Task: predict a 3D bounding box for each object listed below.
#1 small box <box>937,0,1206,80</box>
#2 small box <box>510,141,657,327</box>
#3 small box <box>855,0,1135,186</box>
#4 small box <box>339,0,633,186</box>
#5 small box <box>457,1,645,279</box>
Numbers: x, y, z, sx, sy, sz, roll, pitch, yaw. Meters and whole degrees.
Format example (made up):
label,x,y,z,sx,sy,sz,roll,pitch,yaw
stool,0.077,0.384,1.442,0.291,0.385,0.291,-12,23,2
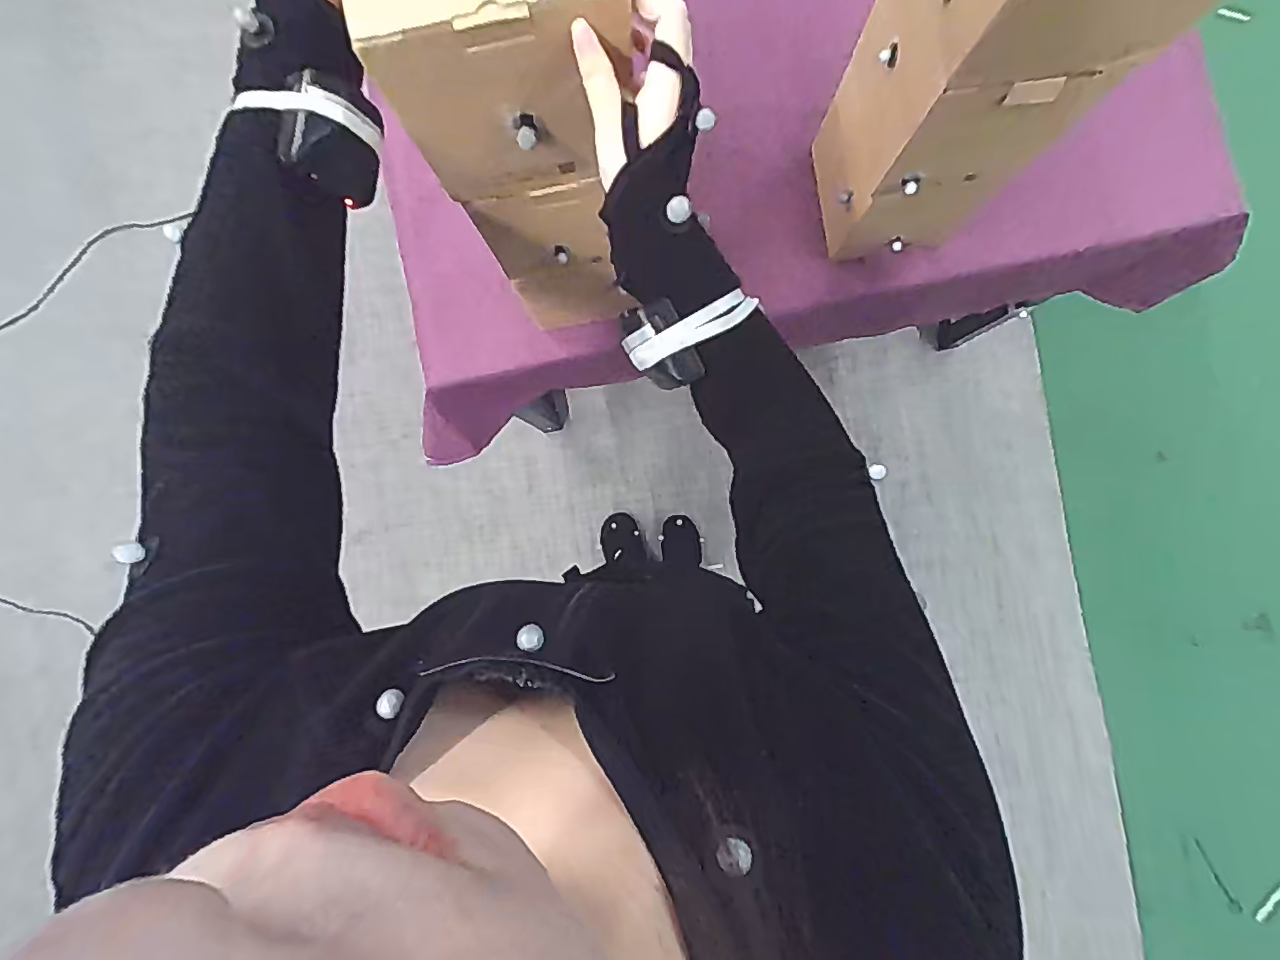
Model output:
label,x,y,z,sx,sy,sz,roll,pitch,yaw
small box,0.326,-0.419,0.376,0.179,0.176,0.168,-5,89,2
small box,-0.074,-0.319,0.720,0.179,0.176,0.168,-9,87,2
small box,0.331,-0.420,0.538,0.168,0.176,0.179,-6,87,3
small box,-0.101,-0.343,0.394,0.168,0.176,0.179,-10,88,1
small box,-0.086,-0.334,0.557,0.168,0.176,0.179,-8,87,2
